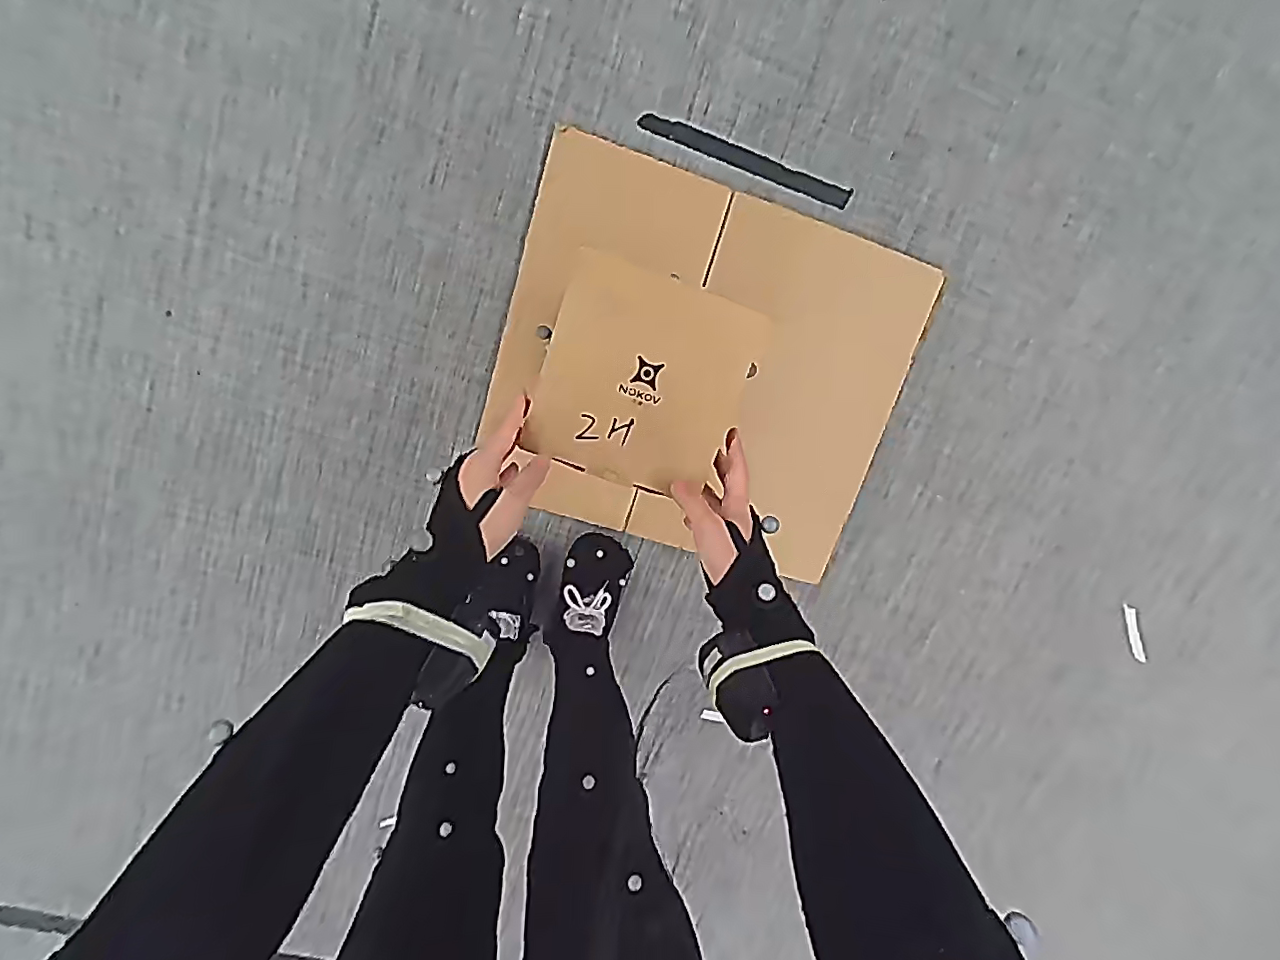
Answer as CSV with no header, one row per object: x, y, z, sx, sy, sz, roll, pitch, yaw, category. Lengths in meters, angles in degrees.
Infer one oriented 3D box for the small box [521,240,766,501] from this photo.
-0.006,-0.105,0.528,0.168,0.176,0.179,18,102,-9,small box
